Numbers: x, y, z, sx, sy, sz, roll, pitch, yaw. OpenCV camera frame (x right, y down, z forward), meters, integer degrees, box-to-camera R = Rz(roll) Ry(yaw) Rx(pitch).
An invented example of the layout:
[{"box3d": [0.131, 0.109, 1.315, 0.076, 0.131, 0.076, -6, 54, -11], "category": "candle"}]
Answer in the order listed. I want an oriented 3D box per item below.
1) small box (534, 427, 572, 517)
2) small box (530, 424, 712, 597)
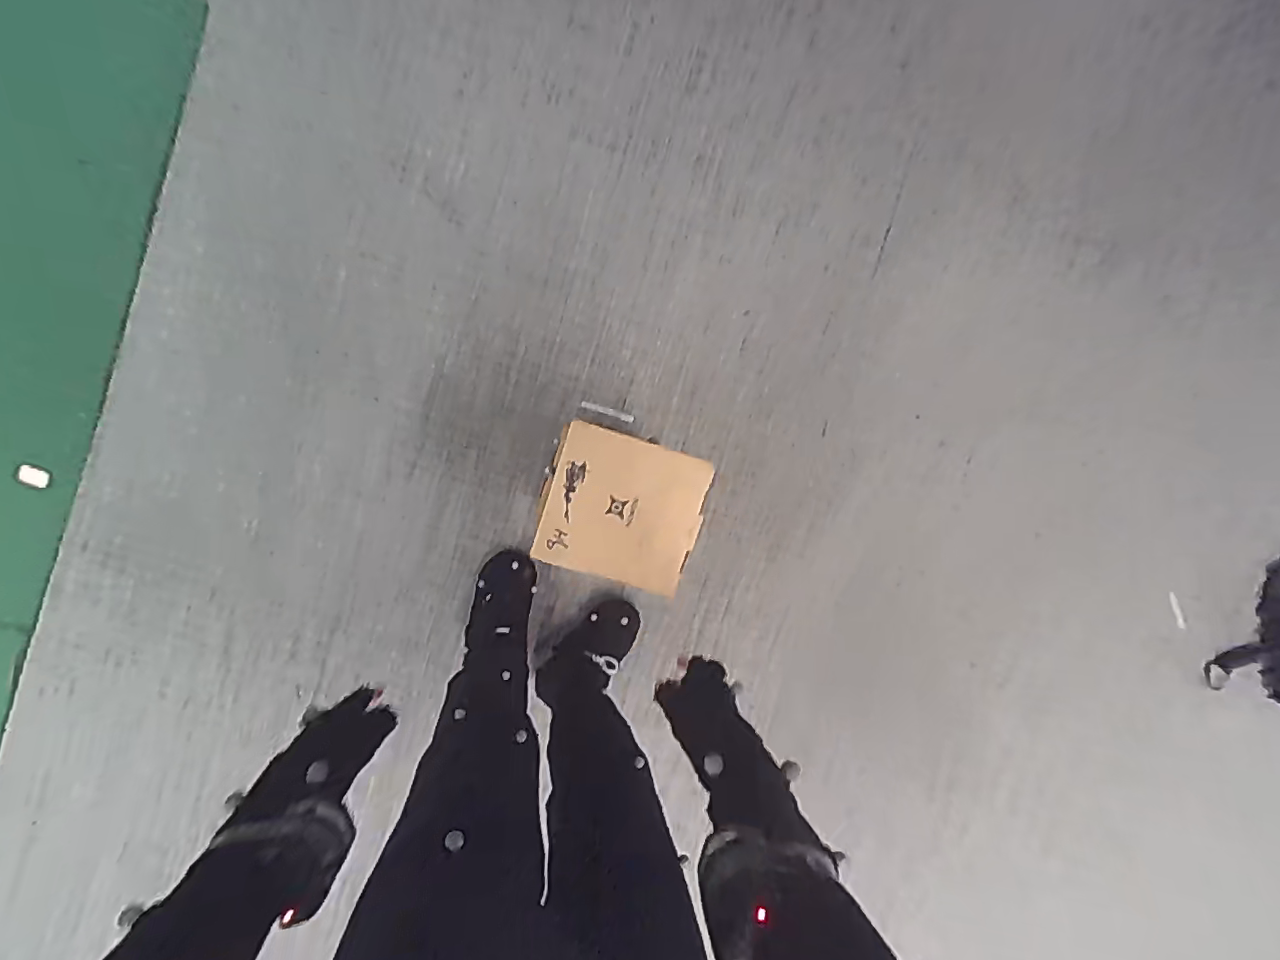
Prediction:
[{"box3d": [-0.088, 0.009, 1.026, 0.179, 0.176, 0.168, 19, 91, -8], "category": "small box"}, {"box3d": [-0.030, 0.033, 0.707, 0.179, 0.176, 0.168, 18, 90, -7], "category": "small box"}]
